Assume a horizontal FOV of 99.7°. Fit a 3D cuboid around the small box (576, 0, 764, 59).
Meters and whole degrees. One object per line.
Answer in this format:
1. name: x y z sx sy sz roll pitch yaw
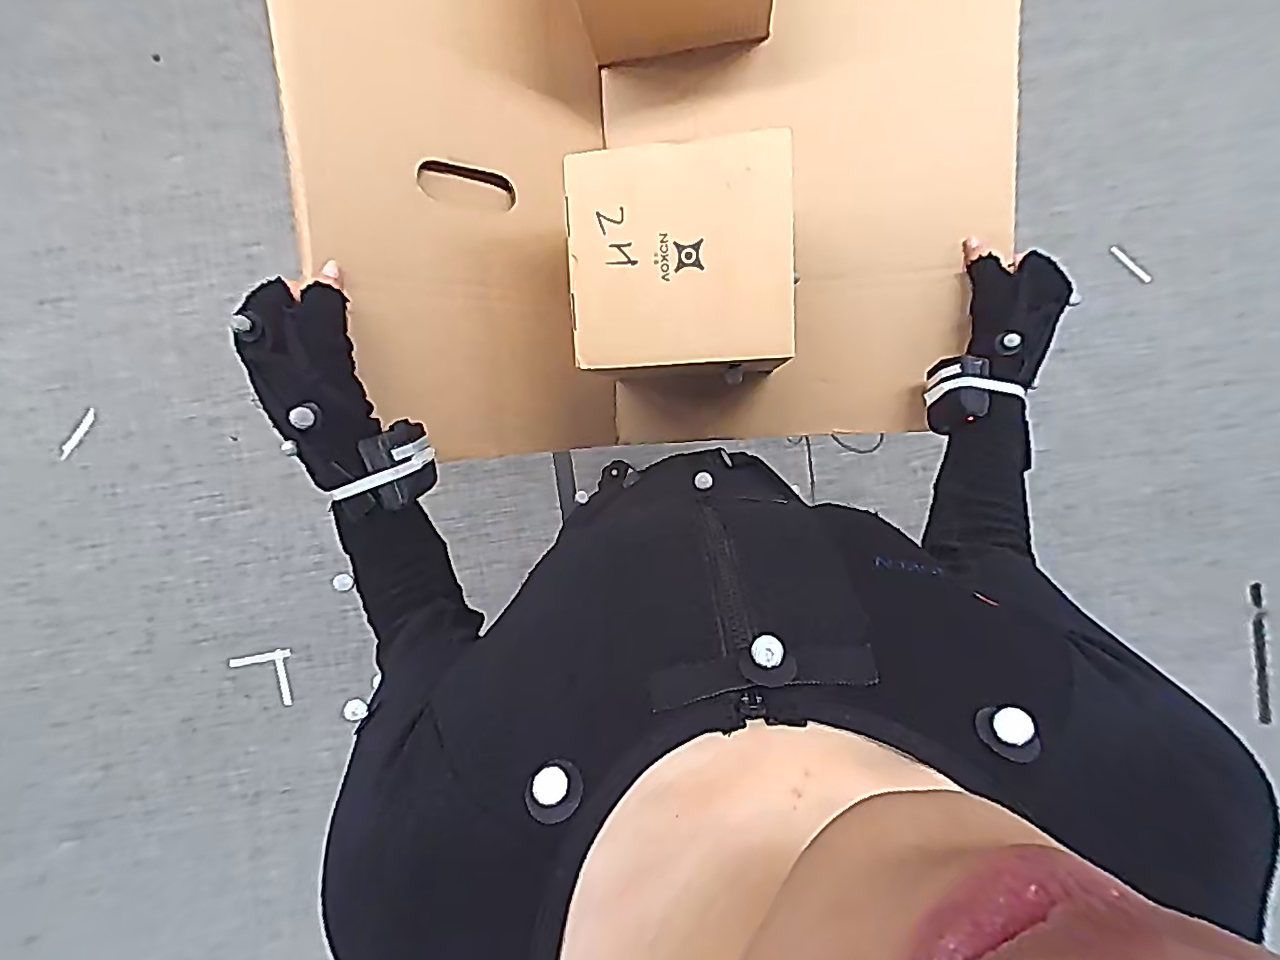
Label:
1. small box: 0.020 -0.505 0.464 0.179 0.176 0.168 -3 98 9
